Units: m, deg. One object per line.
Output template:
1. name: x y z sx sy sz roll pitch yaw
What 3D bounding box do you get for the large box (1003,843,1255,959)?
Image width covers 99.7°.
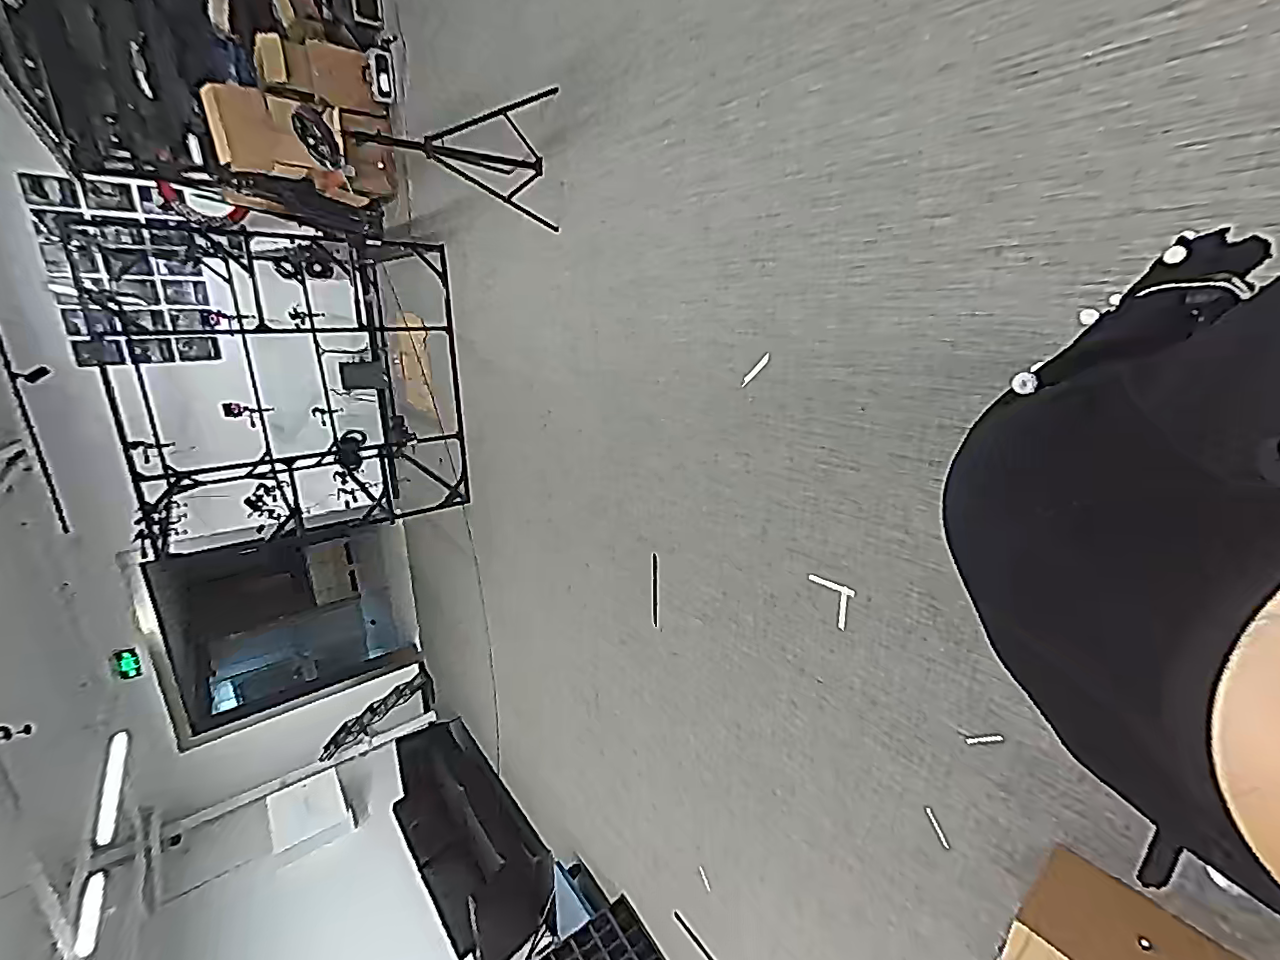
1. large box: 1.104 1.159 1.228 0.408 0.320 0.320 22 117 48
